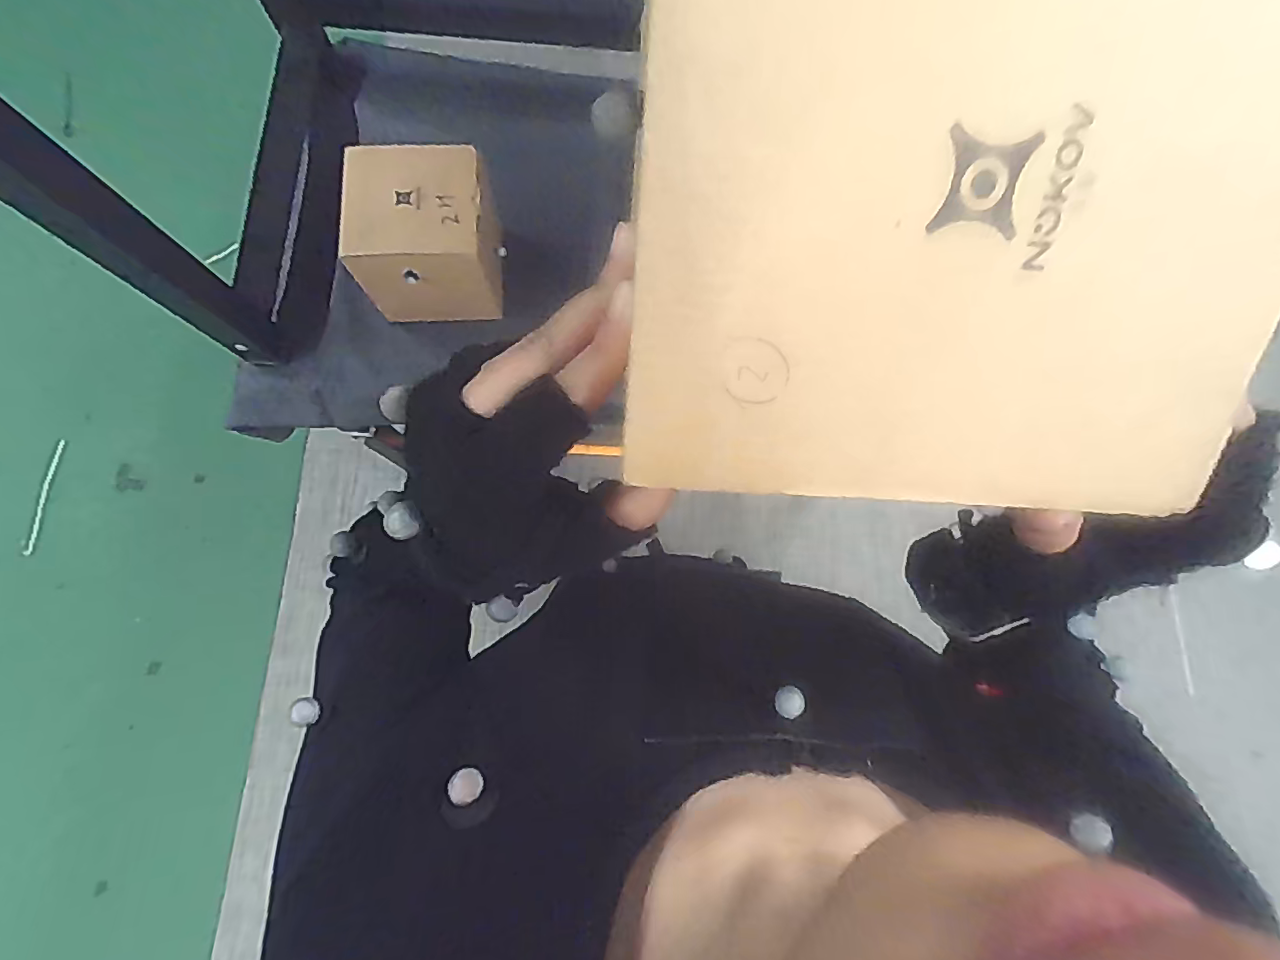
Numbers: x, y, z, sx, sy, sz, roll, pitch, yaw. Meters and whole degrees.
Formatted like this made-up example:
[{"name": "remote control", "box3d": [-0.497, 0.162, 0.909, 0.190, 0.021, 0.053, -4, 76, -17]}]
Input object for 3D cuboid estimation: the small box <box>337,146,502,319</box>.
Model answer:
[{"name": "small box", "box3d": [-0.305, -0.347, 0.783, 0.179, 0.176, 0.168, -2, 78, -5]}]
